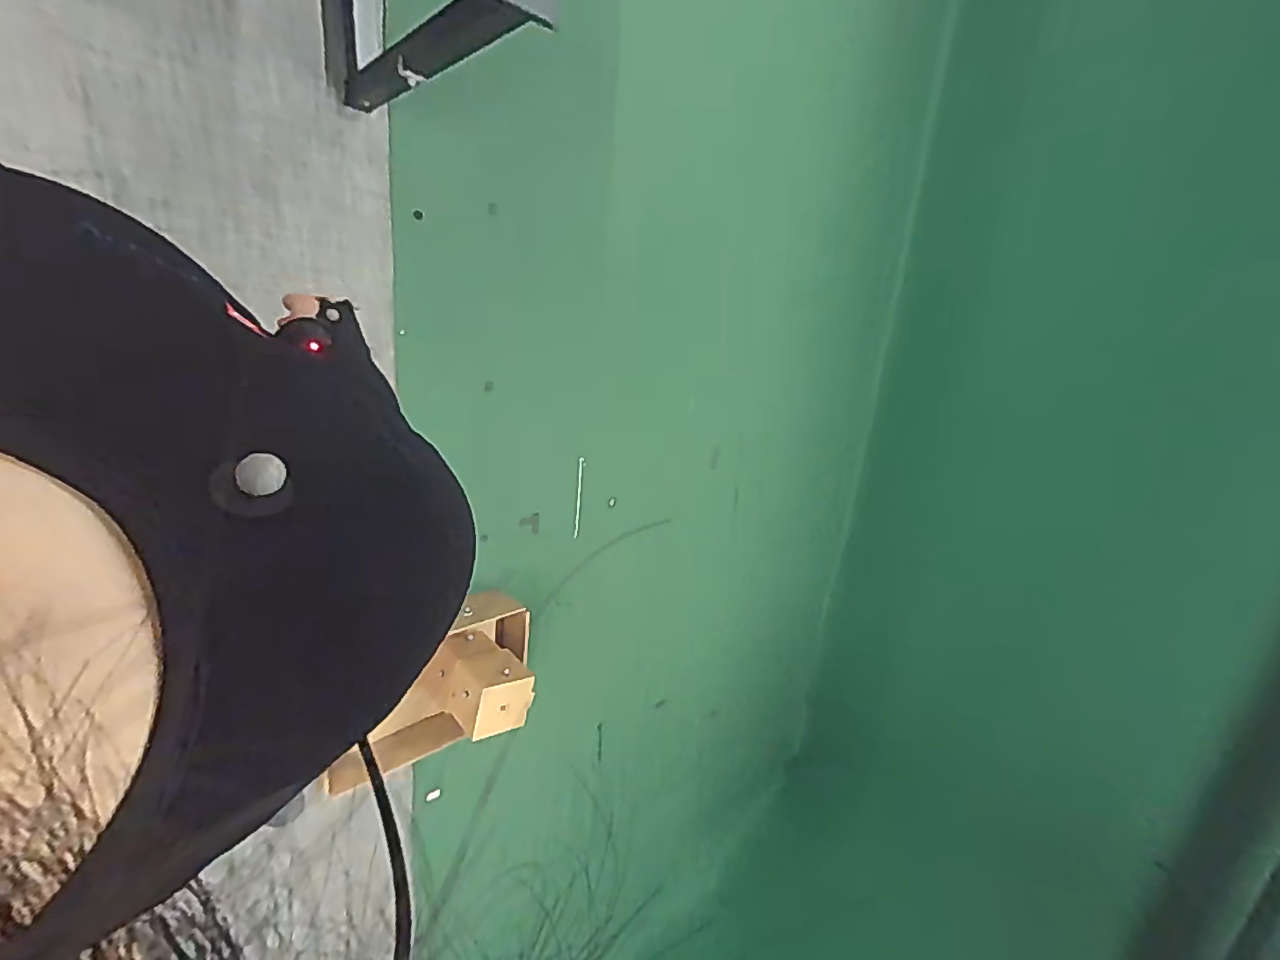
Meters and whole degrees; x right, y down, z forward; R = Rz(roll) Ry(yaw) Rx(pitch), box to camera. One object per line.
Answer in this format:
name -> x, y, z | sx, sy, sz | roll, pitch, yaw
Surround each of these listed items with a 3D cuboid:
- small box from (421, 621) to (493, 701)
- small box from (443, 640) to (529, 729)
small box -> -0.572, 0.569, 1.718 | 0.168, 0.176, 0.179 | 11, 98, -47
small box -> -0.461, 0.596, 1.601 | 0.179, 0.176, 0.168 | 4, 104, -47
